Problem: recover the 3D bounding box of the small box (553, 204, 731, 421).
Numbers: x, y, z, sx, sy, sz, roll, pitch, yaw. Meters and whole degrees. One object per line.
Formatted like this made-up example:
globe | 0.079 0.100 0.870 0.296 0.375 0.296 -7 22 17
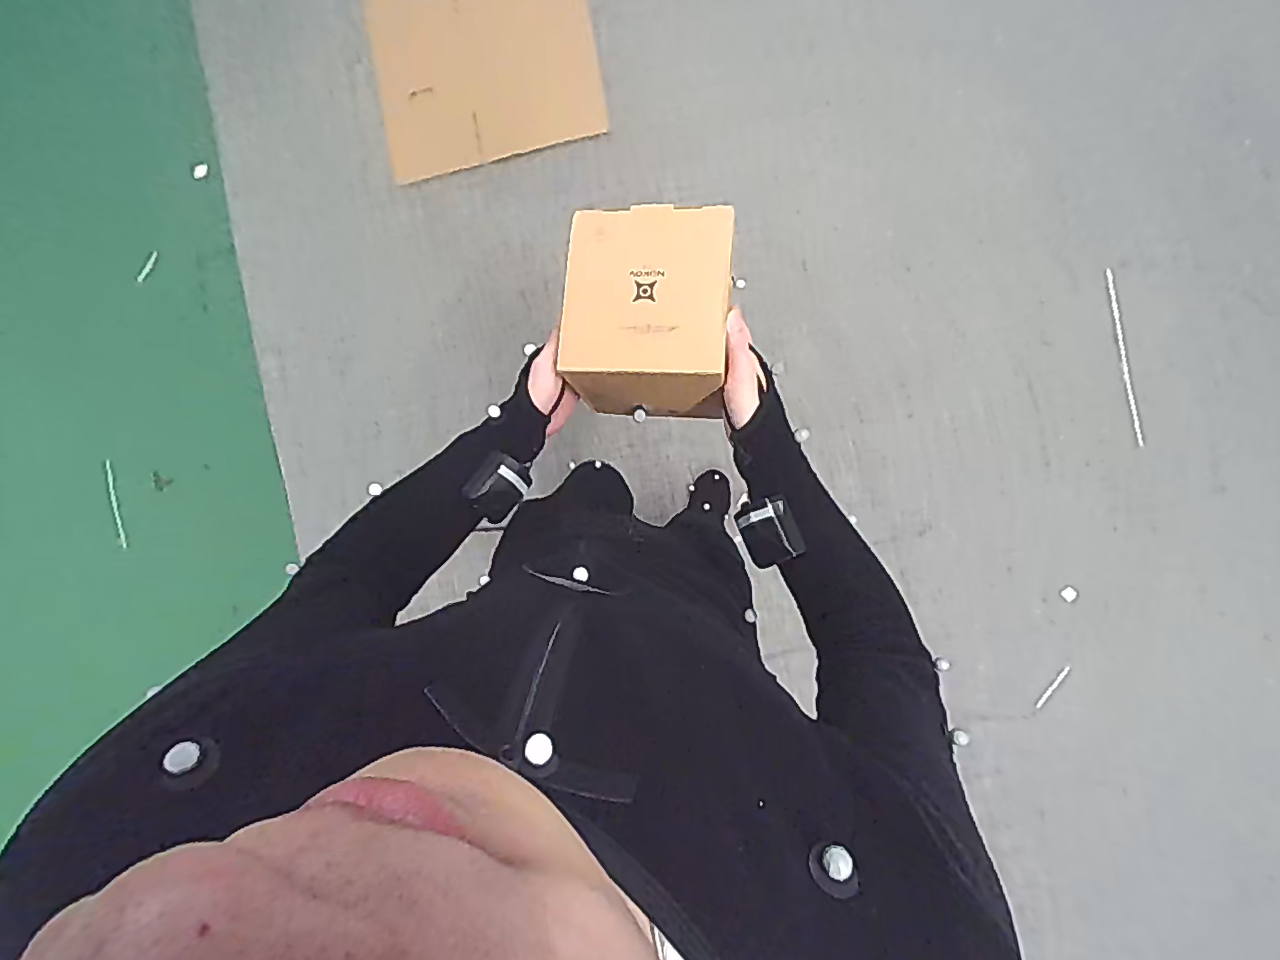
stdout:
small box | 0.014 -0.175 0.604 0.168 0.176 0.179 2 81 10
